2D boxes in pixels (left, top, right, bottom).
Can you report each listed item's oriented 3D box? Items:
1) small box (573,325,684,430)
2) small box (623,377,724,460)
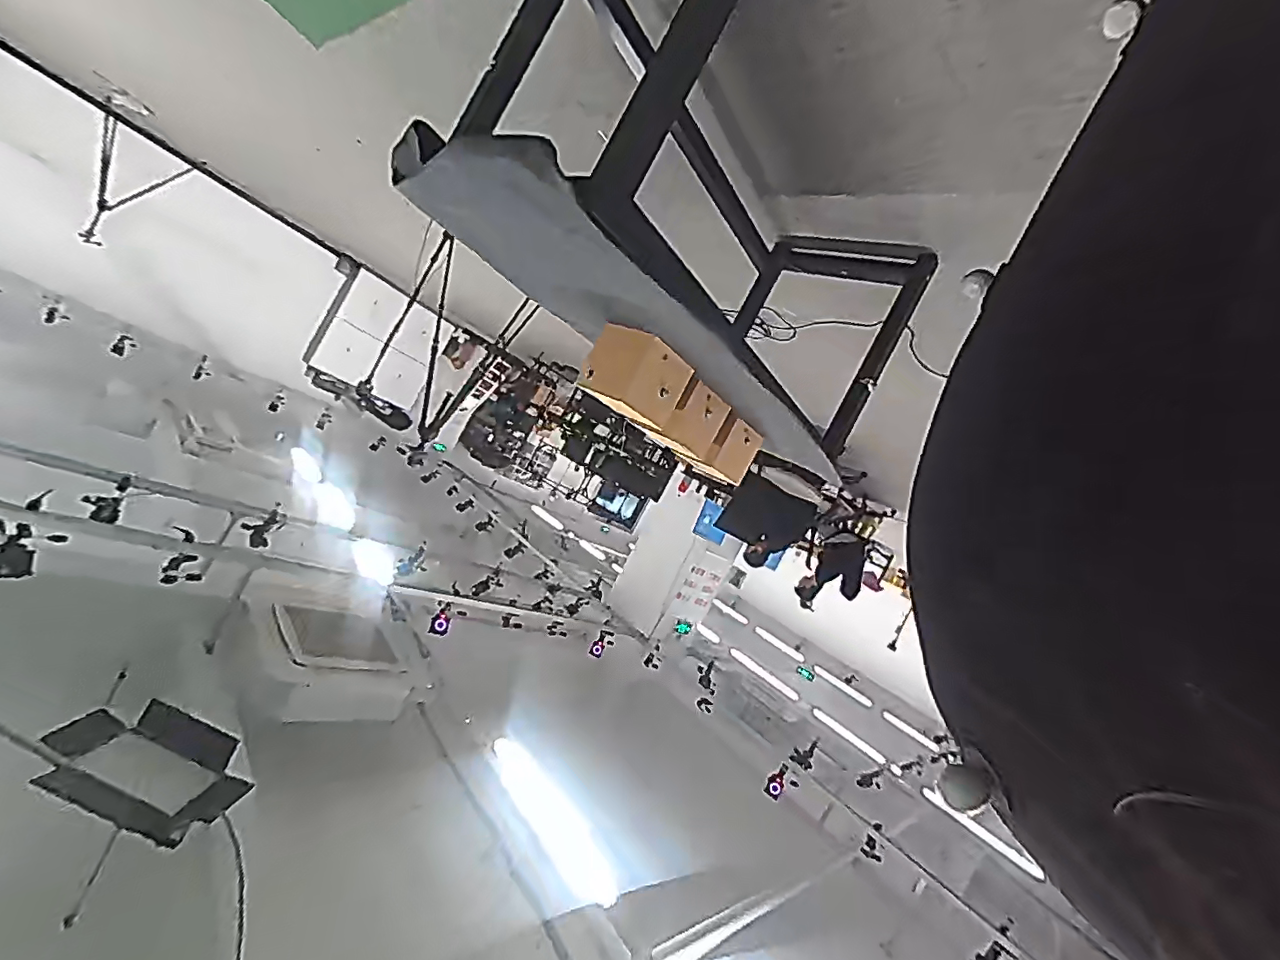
[{"bbox_3d":[-0.019,-0.243,1.270,0.179,0.176,0.168,28,180,42],"label":"small box"},{"bbox_3d":[0.094,-0.180,1.453,0.179,0.176,0.168,27,179,43],"label":"small box"}]
